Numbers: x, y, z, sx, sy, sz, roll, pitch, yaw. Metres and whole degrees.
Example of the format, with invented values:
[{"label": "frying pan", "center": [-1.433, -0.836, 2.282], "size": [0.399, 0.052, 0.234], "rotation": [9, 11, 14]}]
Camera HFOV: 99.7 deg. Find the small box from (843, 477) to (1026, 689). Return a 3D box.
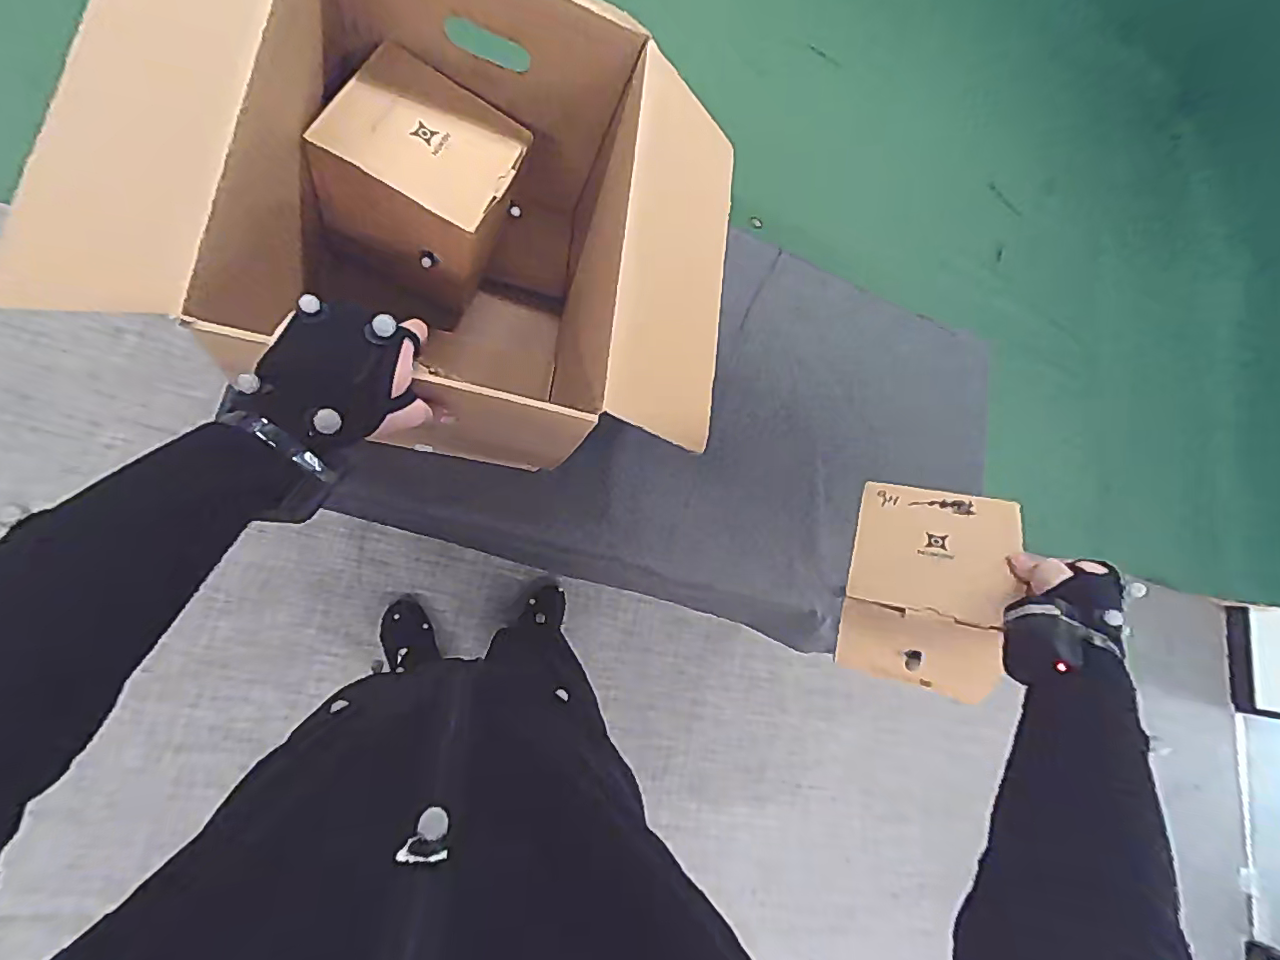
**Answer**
[{"label": "small box", "center": [0.346, 0.124, 0.654], "size": [0.168, 0.176, 0.179], "rotation": [10, 51, 24]}]
